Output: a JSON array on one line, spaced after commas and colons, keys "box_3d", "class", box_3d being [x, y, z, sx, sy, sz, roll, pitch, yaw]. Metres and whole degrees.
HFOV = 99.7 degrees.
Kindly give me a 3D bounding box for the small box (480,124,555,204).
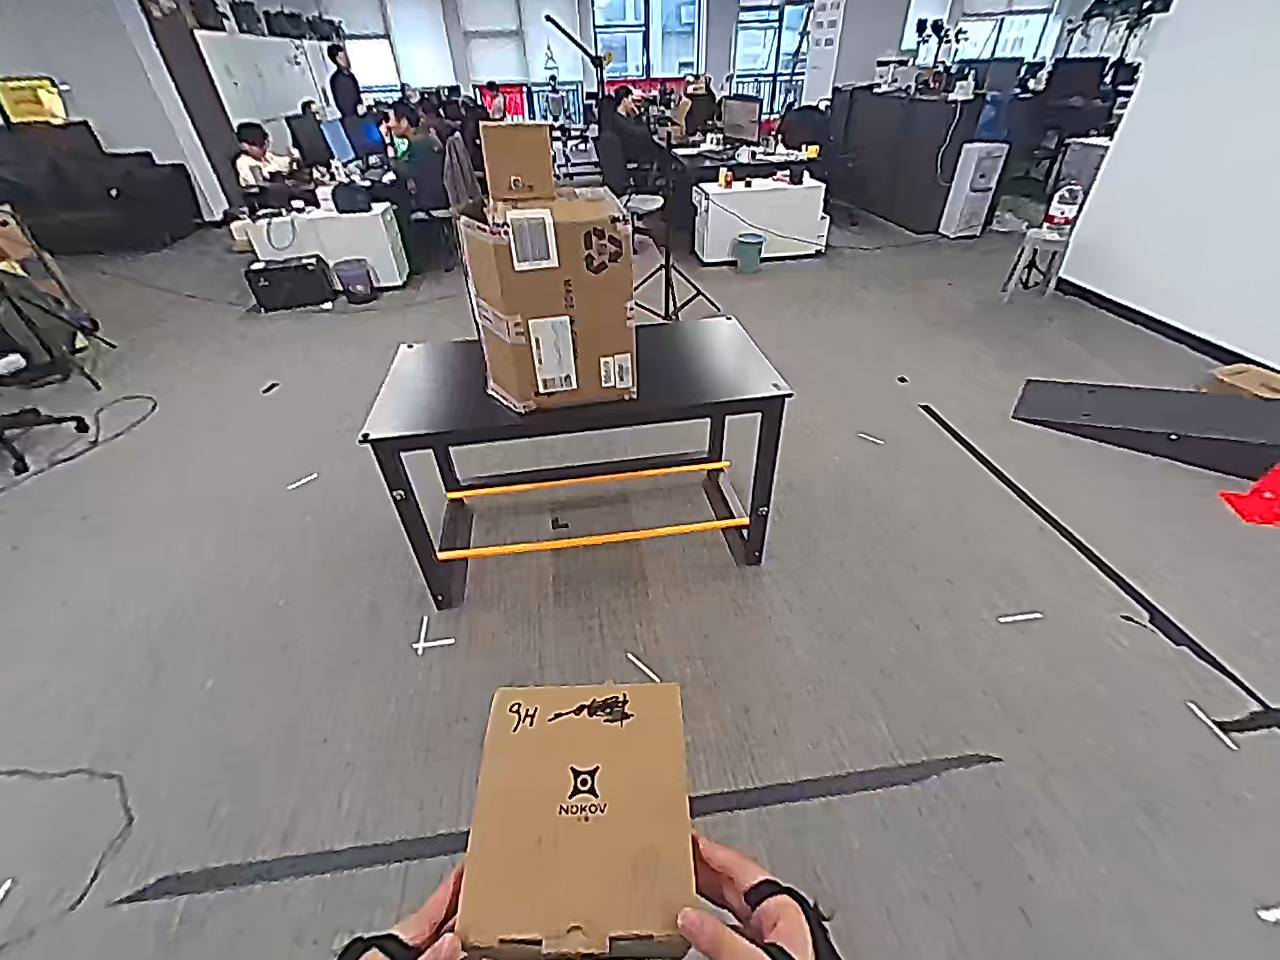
[{"box_3d": [-0.324, -0.835, 1.429, 0.168, 0.176, 0.179, -10, 37, -11], "class": "small box"}]
